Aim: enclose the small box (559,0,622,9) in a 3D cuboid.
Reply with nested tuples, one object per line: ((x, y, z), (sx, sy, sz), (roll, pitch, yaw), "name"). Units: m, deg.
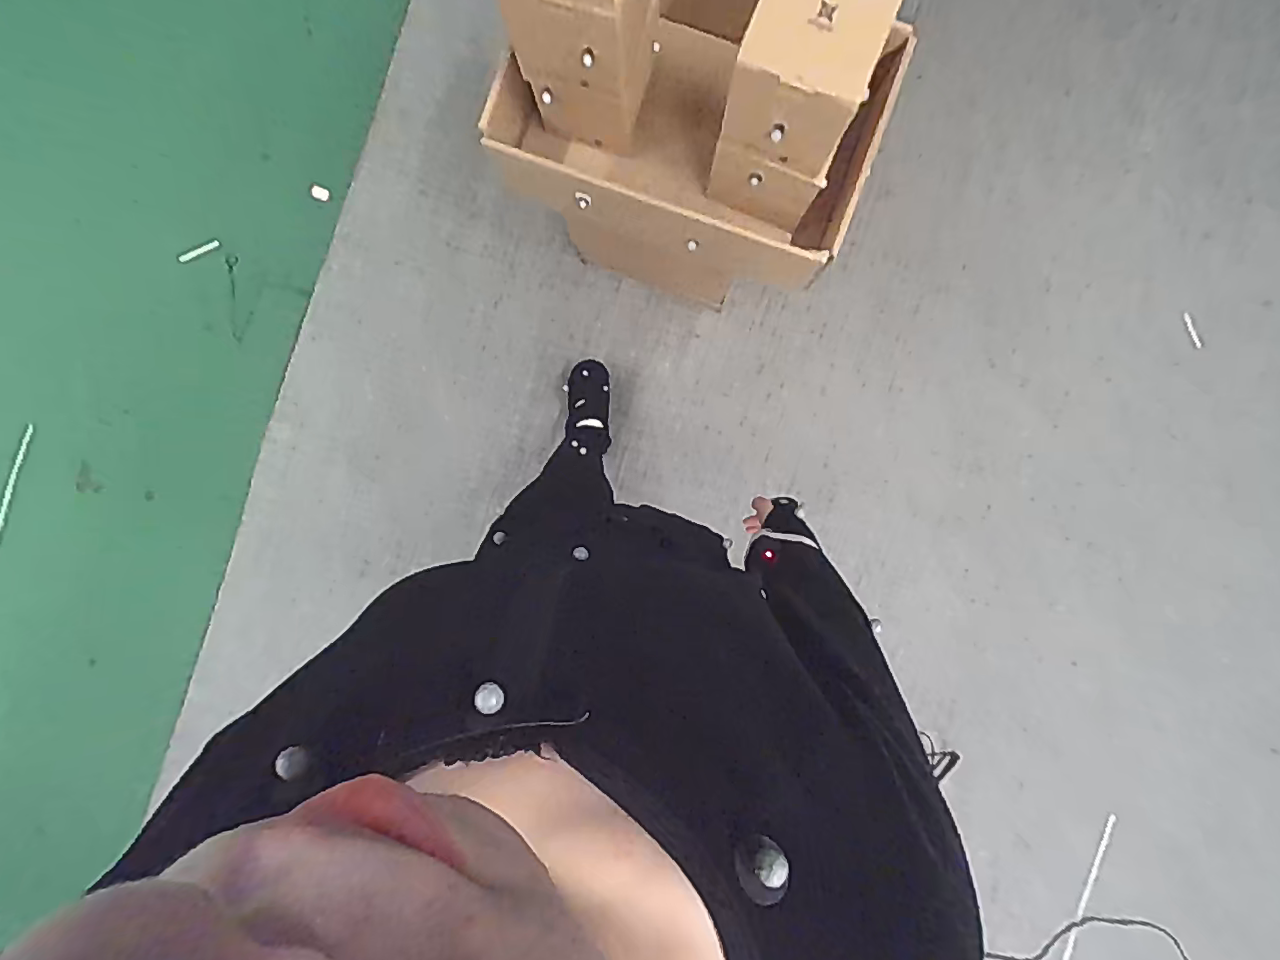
((-0.092, -0.674, 0.591), (0.179, 0.176, 0.168), (15, 91, 0), "small box")

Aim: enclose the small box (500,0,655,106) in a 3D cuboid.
((-0.075, -0.671, 0.753), (0.168, 0.176, 0.179), (16, 90, 1), "small box")

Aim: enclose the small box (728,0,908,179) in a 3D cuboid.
((0.230, -0.558, 0.744), (0.168, 0.176, 0.179), (22, 92, 1), "small box")
